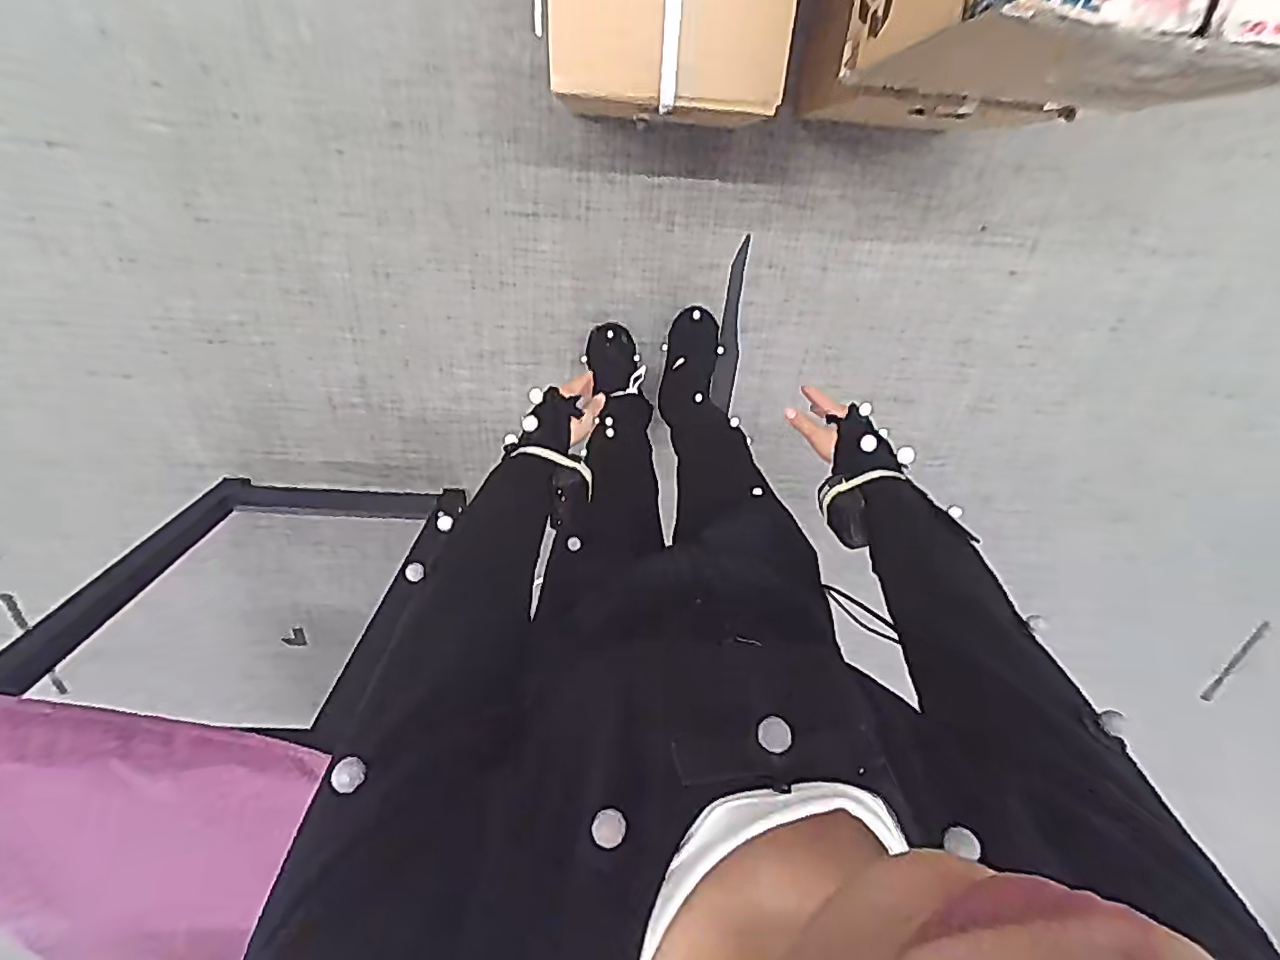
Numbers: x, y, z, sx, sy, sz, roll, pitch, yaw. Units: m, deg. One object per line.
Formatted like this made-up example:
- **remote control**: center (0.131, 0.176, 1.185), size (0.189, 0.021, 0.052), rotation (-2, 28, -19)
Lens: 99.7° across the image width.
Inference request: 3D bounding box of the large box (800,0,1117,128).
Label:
- **large box**: center (0.456, -0.760, 0.773), size (0.320, 0.320, 0.408), rotation (2, 120, -3)
